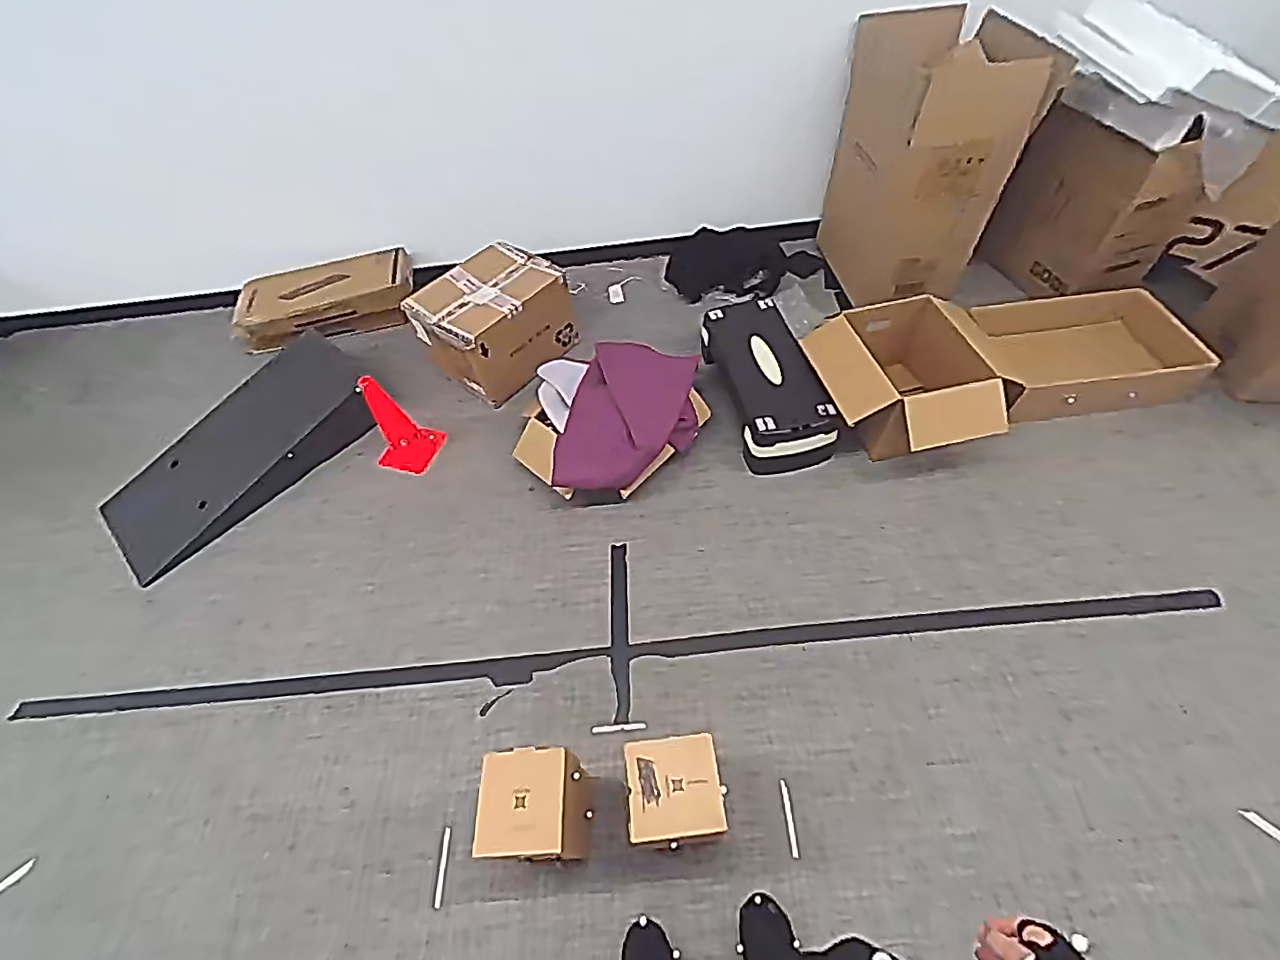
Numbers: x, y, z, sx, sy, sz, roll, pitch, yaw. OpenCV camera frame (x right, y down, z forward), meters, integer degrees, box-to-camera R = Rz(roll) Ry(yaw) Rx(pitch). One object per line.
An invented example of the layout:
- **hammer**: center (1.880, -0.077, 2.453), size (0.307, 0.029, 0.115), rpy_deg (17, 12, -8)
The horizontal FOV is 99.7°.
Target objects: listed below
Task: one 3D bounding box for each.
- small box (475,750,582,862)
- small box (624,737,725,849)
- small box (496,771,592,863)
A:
- **small box**: center (-0.214, 0.657, 1.087), size (0.168, 0.176, 0.179), rpy_deg (-6, 55, 3)
- **small box**: center (0.069, 0.626, 1.078), size (0.179, 0.176, 0.168), rpy_deg (-7, 53, 0)
- **small box**: center (-0.207, 0.757, 1.215), size (0.179, 0.176, 0.168), rpy_deg (-4, 53, 4)
